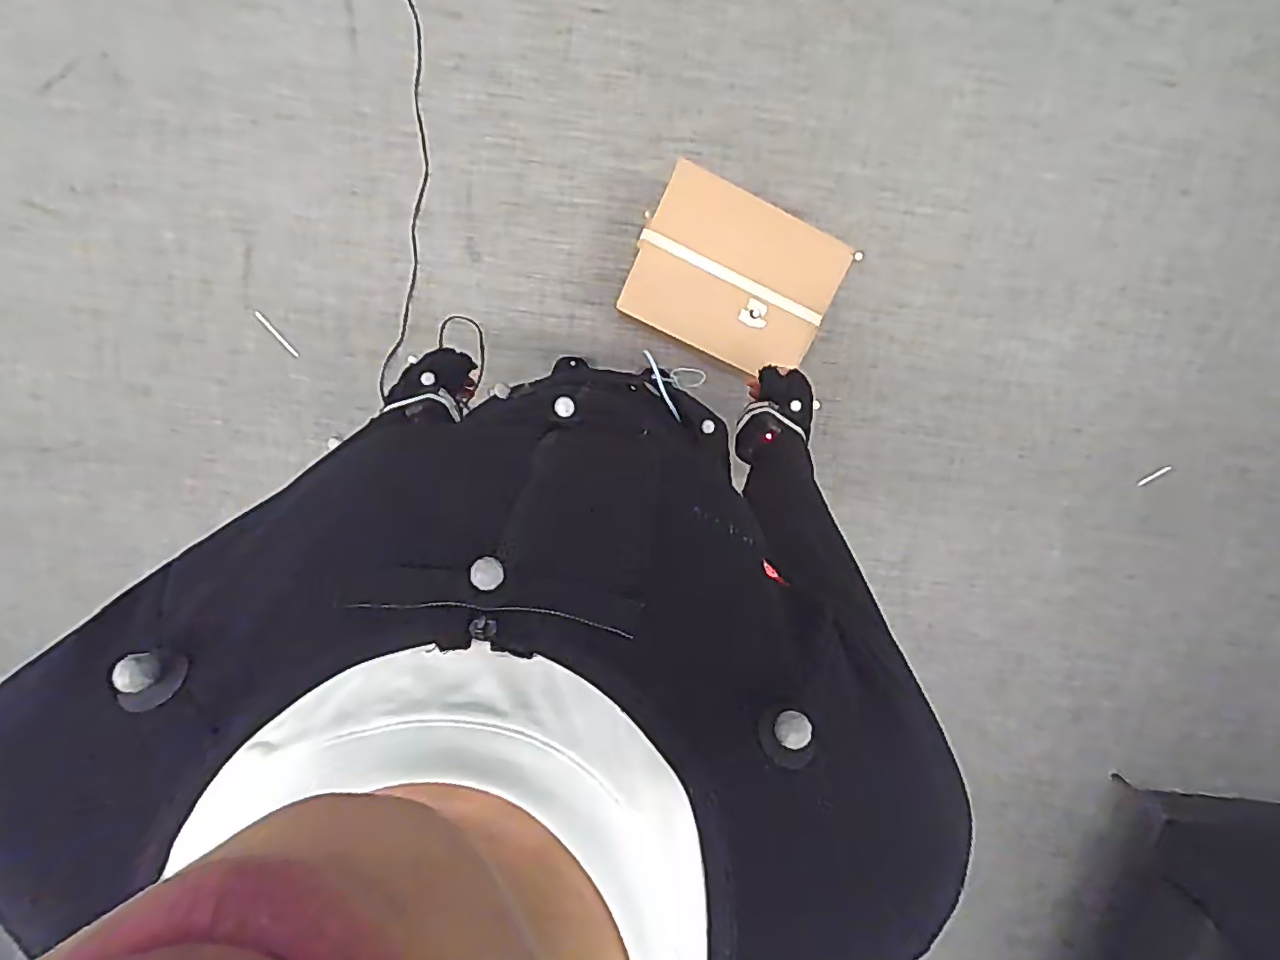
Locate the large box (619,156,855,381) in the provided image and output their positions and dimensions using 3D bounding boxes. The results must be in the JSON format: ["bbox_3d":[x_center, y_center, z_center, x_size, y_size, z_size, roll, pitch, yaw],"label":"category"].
[{"bbox_3d":[0.190,-0.455,1.247,0.408,0.320,0.320,24,102,-8],"label":"large box"}]
